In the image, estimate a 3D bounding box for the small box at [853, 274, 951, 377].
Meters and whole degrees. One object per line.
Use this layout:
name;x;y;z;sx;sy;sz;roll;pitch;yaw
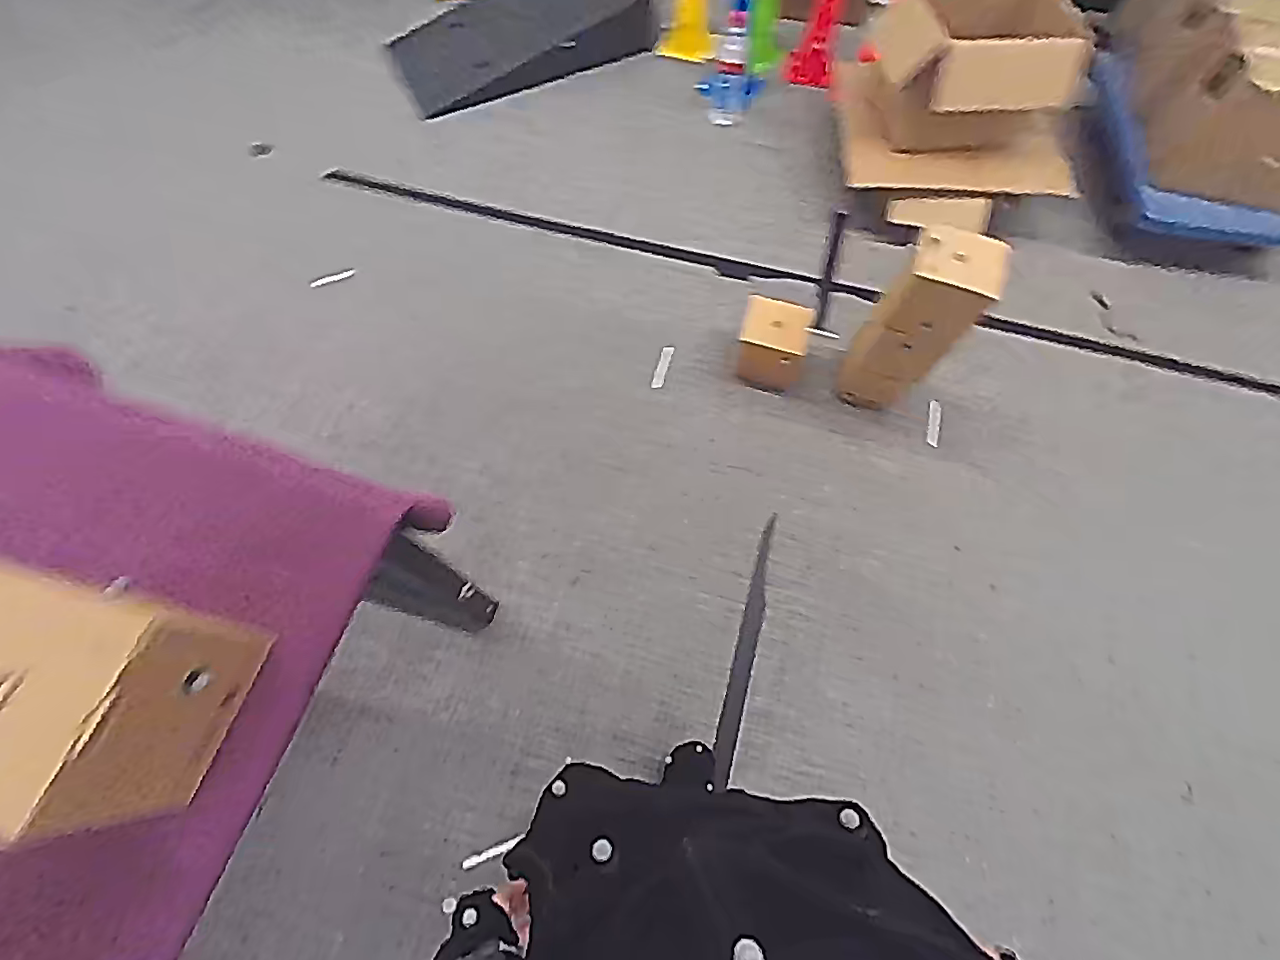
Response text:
small box;0.664;-0.385;1.373;0.179;0.176;0.168;17;69;4

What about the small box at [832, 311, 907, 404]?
small box;0.659;-0.340;1.532;0.168;0.176;0.179;15;68;4

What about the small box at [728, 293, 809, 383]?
small box;0.361;-0.400;1.548;0.179;0.176;0.168;16;68;4

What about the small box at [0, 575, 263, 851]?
small box;-0.497;0.197;0.486;0.179;0.176;0.168;14;67;5

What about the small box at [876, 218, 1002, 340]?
small box;0.669;-0.444;1.220;0.179;0.176;0.168;21;69;5
